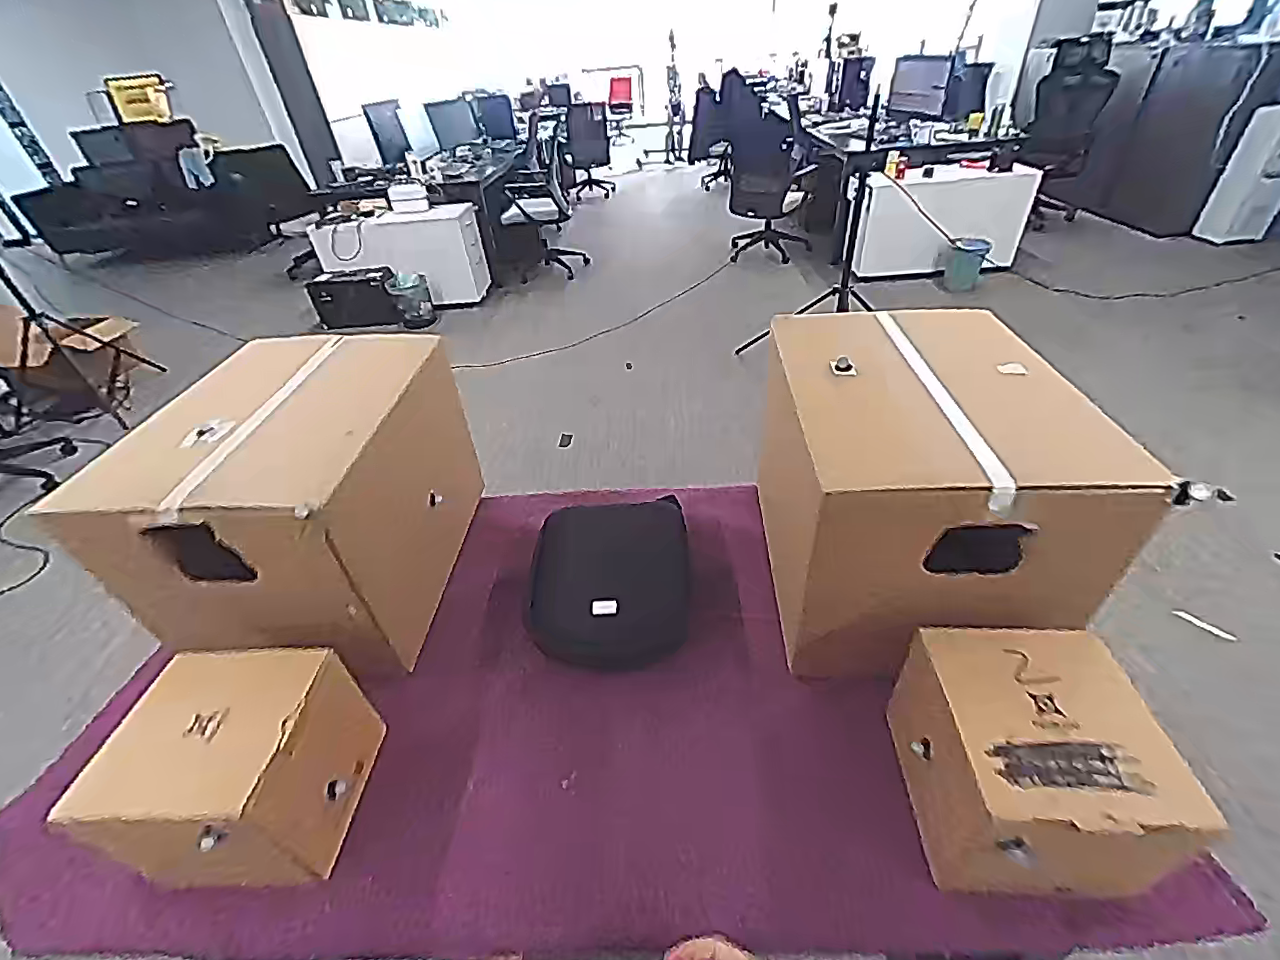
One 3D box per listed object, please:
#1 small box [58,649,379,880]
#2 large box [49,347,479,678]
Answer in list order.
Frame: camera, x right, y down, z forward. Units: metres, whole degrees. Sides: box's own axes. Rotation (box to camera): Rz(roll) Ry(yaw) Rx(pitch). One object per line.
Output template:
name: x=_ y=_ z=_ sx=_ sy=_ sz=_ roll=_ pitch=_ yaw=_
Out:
small box: x=-0.417 y=0.303 z=0.577 sx=0.179 sy=0.176 sz=0.168 roll=-3 pitch=37 yaw=2
large box: x=-0.464 y=0.034 z=0.806 sx=0.320 sy=0.320 sz=0.408 roll=-2 pitch=41 yaw=3
